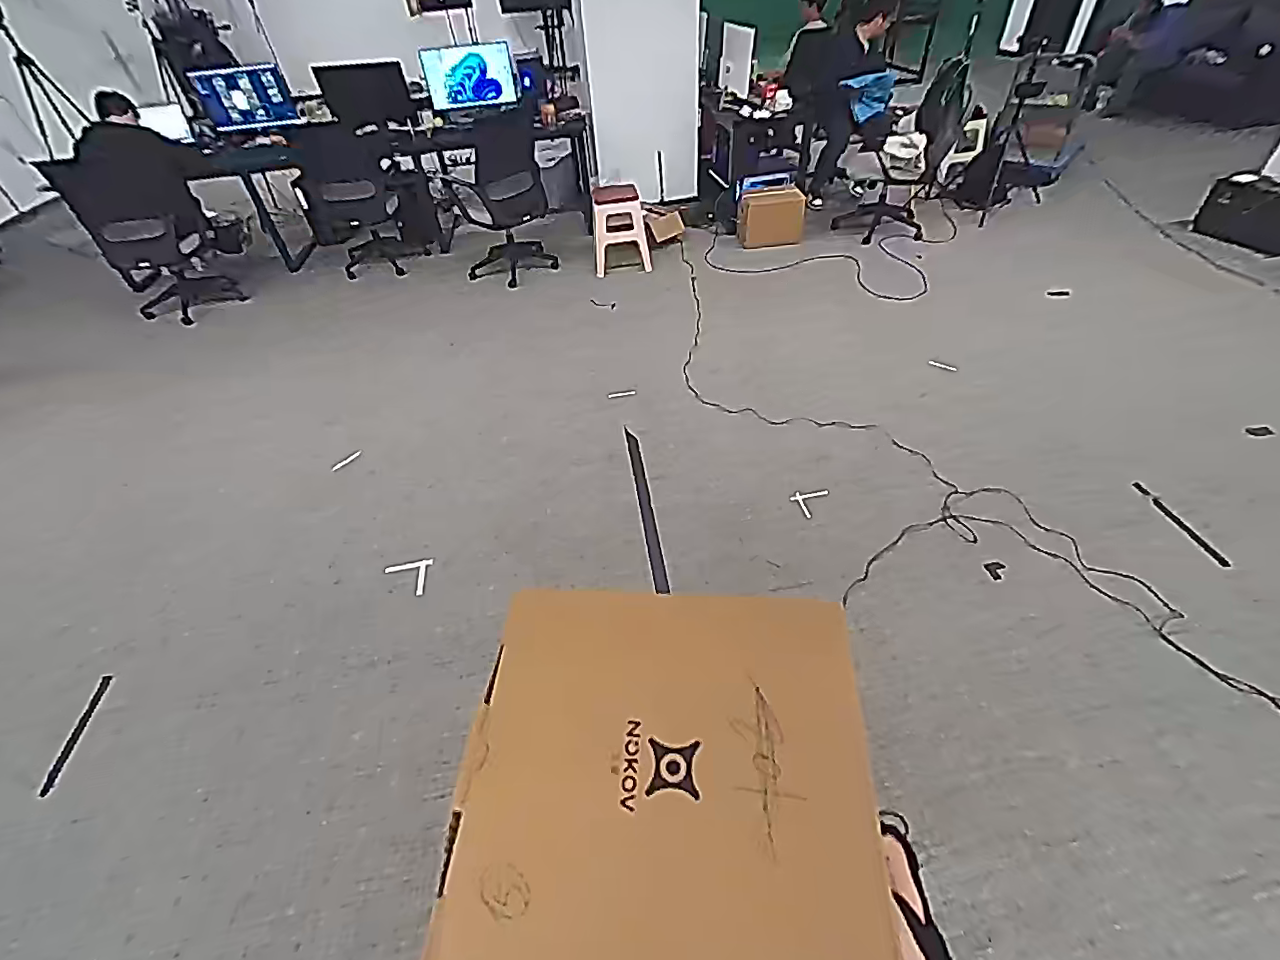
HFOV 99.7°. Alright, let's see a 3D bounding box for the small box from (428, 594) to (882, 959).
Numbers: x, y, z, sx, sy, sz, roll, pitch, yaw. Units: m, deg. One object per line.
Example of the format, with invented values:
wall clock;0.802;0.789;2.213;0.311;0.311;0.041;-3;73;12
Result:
small box;0.015;0.181;0.309;0.179;0.176;0.168;2;51;5
